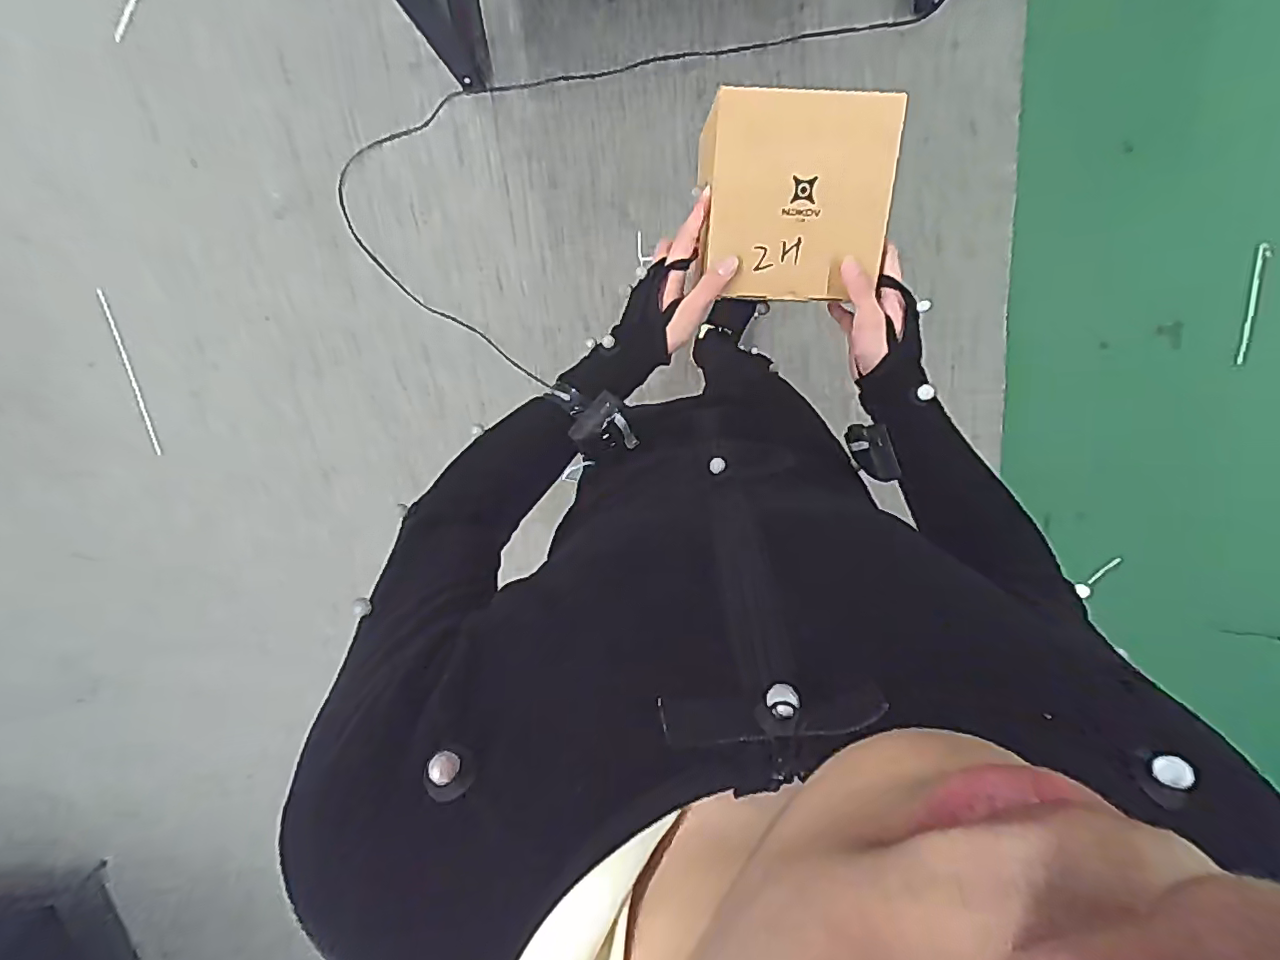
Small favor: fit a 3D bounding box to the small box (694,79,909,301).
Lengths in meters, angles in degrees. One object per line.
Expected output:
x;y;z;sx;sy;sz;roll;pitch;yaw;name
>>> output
0.150;-0.285;0.569;0.168;0.176;0.179;2;109;0;small box
